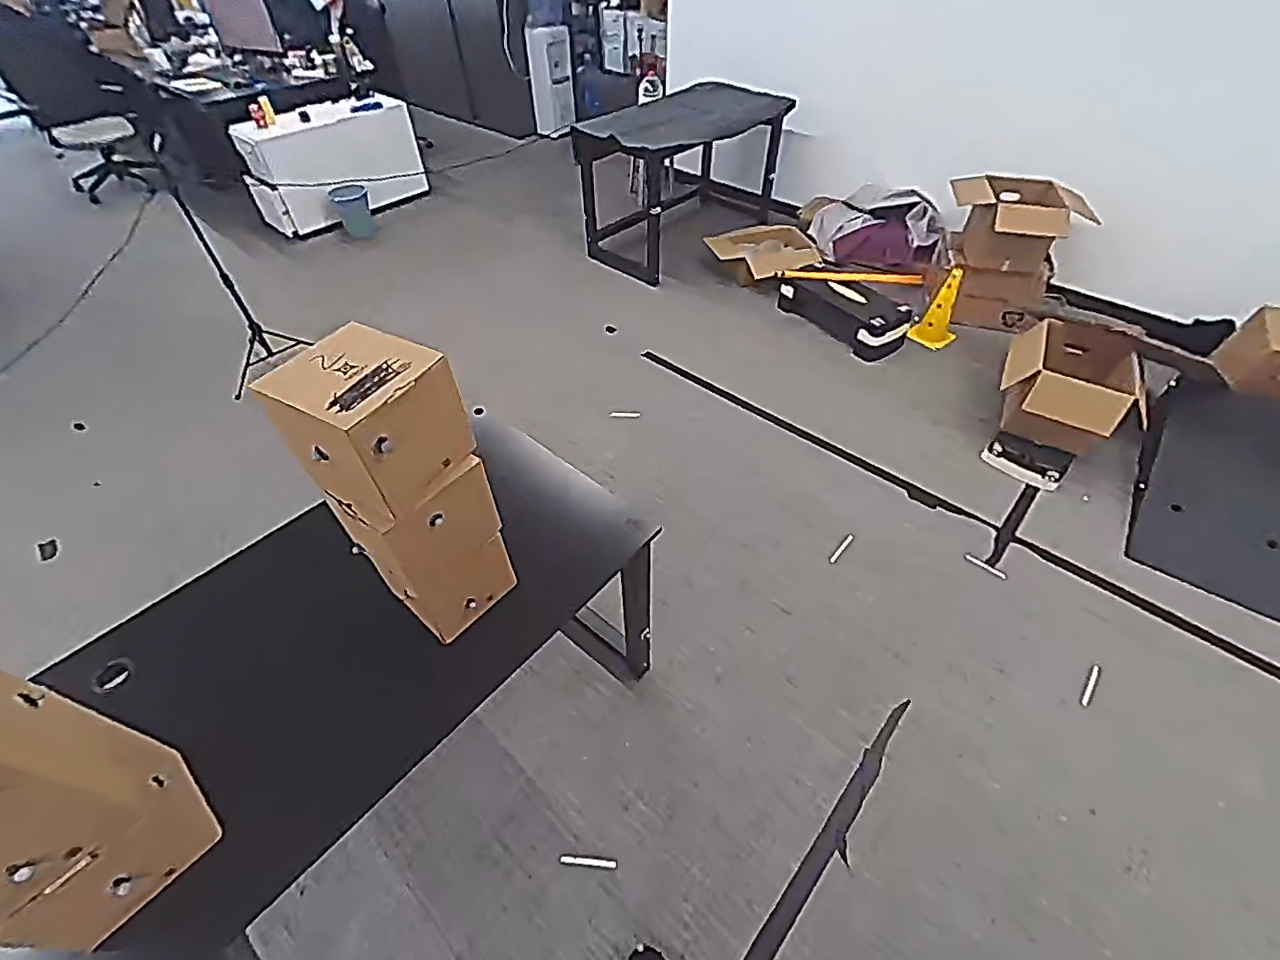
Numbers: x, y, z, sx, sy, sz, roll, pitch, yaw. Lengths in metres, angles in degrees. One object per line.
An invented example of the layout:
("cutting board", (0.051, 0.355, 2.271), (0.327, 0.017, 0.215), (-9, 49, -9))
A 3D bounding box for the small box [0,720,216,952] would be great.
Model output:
("small box", (-0.701, 0.451, 0.692), (0.179, 0.176, 0.168), (32, 55, 25))

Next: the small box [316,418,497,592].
("small box", (-0.348, 0.041, 0.840), (0.168, 0.176, 0.179), (29, 54, 24))

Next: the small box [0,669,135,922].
("small box", (-0.703, 0.340, 0.571), (0.179, 0.176, 0.168), (32, 56, 26))

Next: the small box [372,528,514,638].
("small box", (-0.352, 0.148, 0.965), (0.179, 0.176, 0.168), (32, 56, 26))
